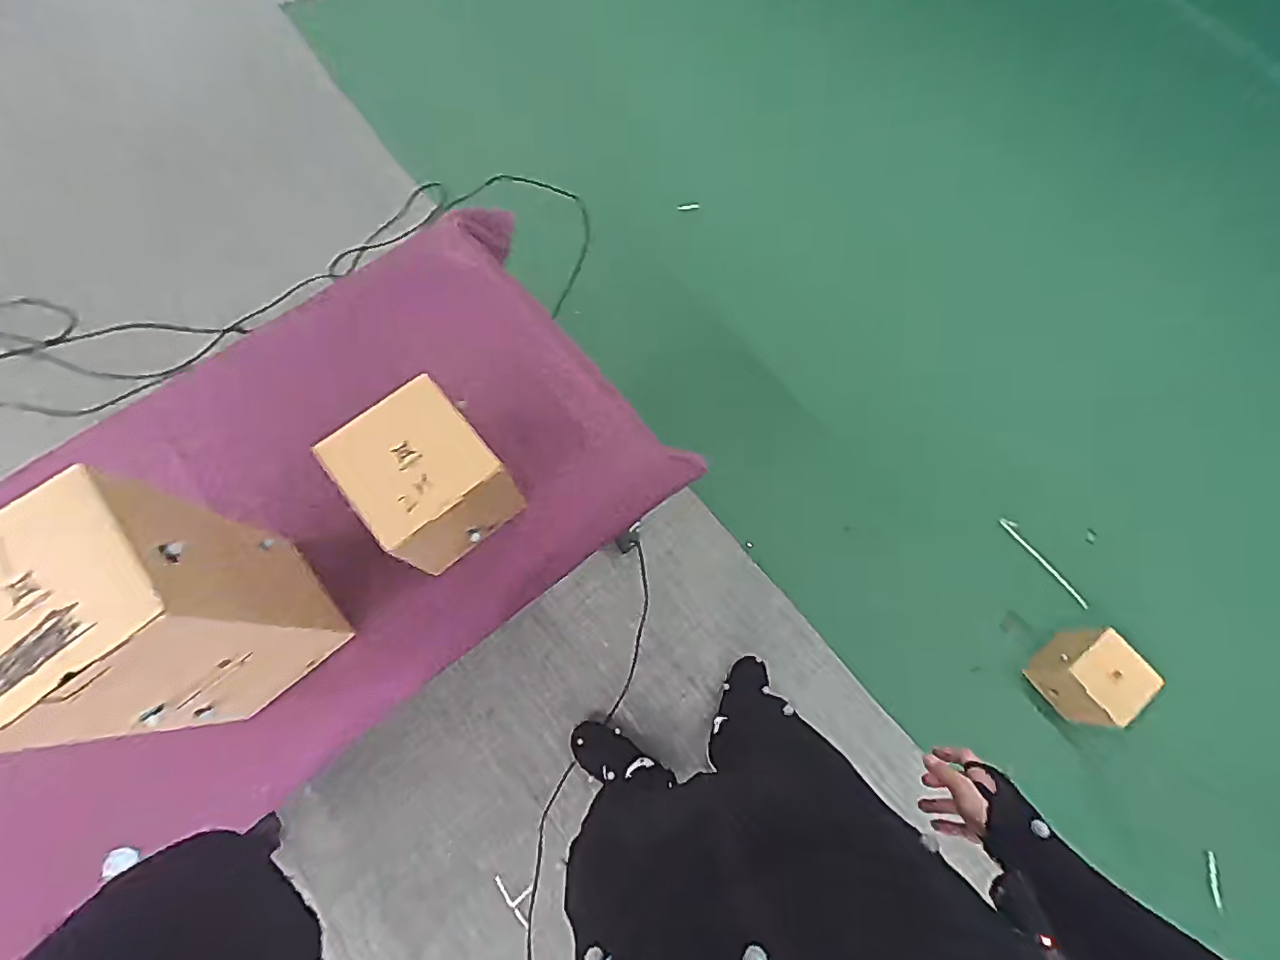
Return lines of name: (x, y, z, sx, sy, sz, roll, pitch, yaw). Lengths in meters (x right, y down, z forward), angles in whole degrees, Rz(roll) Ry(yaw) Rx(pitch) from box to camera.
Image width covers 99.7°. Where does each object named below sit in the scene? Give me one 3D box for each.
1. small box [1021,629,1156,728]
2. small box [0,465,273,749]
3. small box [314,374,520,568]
small box: (1.145, 0.506, 1.396, 0.179, 0.176, 0.168, -36, 77, -12)
small box: (-0.505, 0.120, 0.517, 0.168, 0.176, 0.179, -39, 76, -14)
small box: (-0.289, -0.002, 0.738, 0.168, 0.176, 0.179, -39, 76, -13)
